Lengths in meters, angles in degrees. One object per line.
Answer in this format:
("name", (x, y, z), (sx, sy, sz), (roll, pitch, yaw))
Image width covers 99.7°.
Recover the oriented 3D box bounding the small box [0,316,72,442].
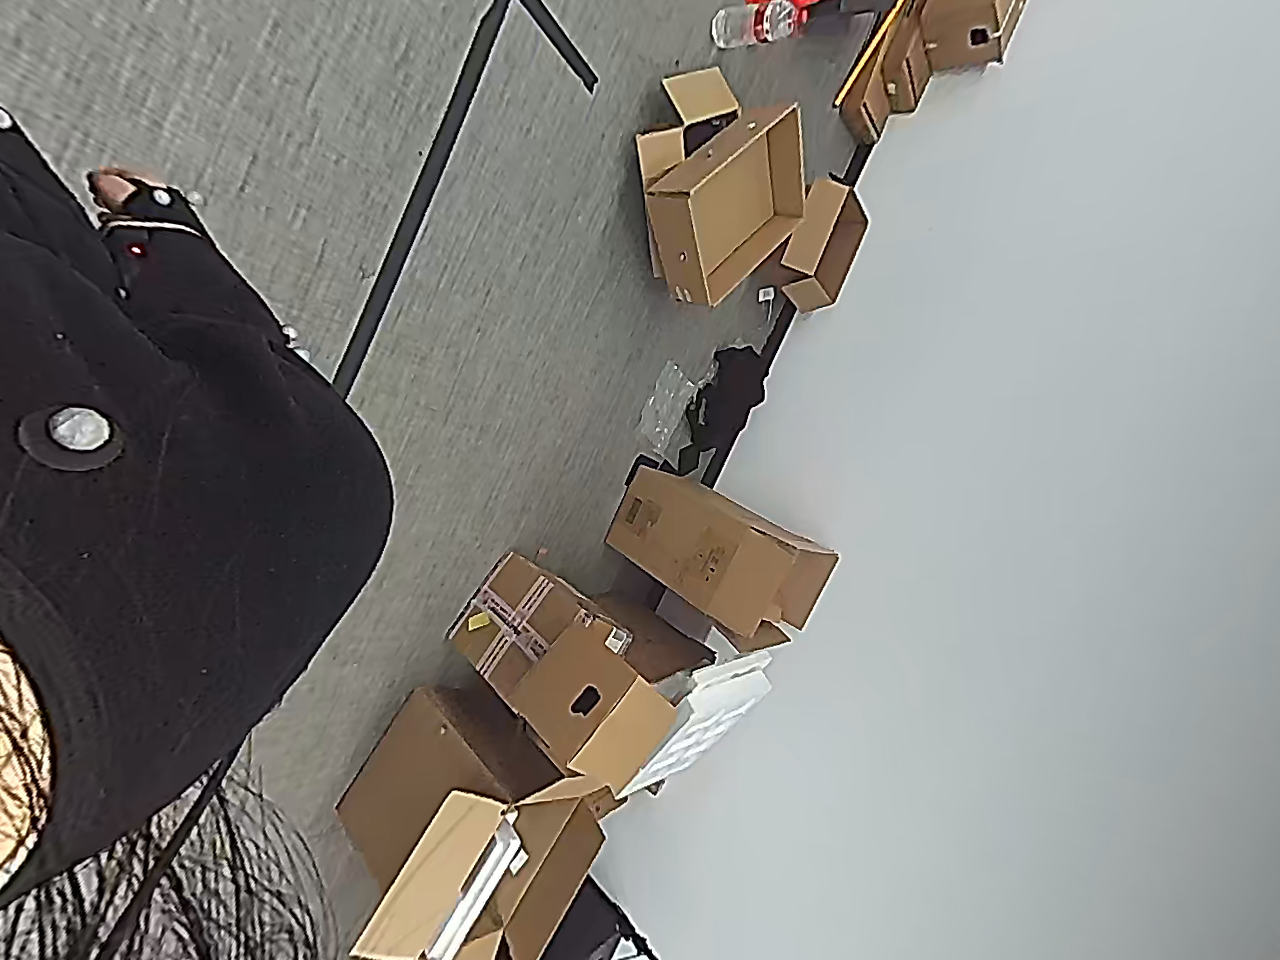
("small box", (-1.131, -0.172, 0.921), (0.168, 0.176, 0.179), (-29, 133, -36))
